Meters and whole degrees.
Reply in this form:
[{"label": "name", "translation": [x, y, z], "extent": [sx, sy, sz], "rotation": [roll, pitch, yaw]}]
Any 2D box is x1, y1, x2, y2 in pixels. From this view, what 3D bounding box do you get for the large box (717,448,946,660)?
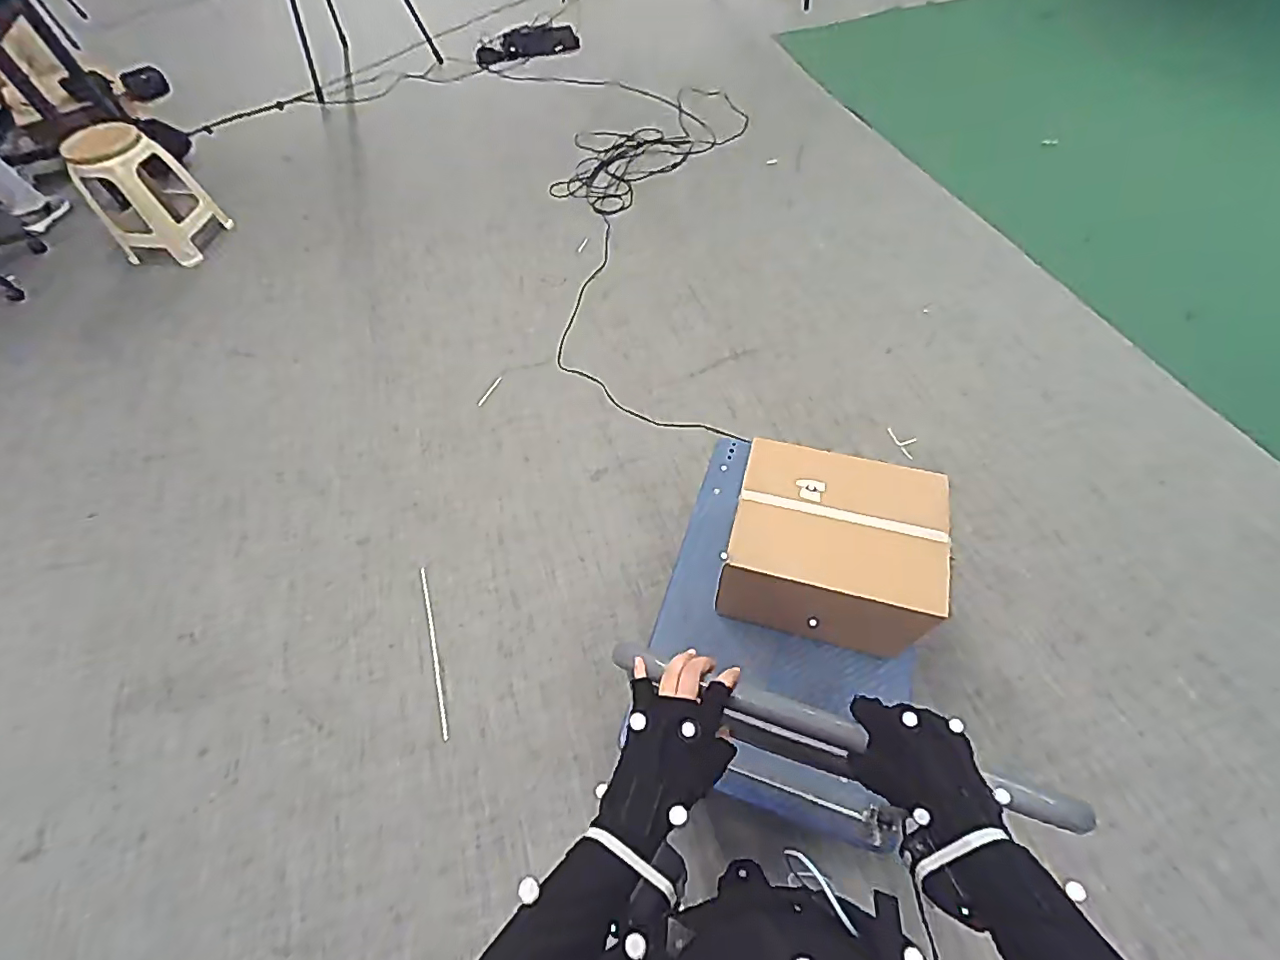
[{"label": "large box", "translation": [0.402, 0.169, 1.191], "extent": [0.408, 0.320, 0.320], "rotation": [12, 59, 12]}]
